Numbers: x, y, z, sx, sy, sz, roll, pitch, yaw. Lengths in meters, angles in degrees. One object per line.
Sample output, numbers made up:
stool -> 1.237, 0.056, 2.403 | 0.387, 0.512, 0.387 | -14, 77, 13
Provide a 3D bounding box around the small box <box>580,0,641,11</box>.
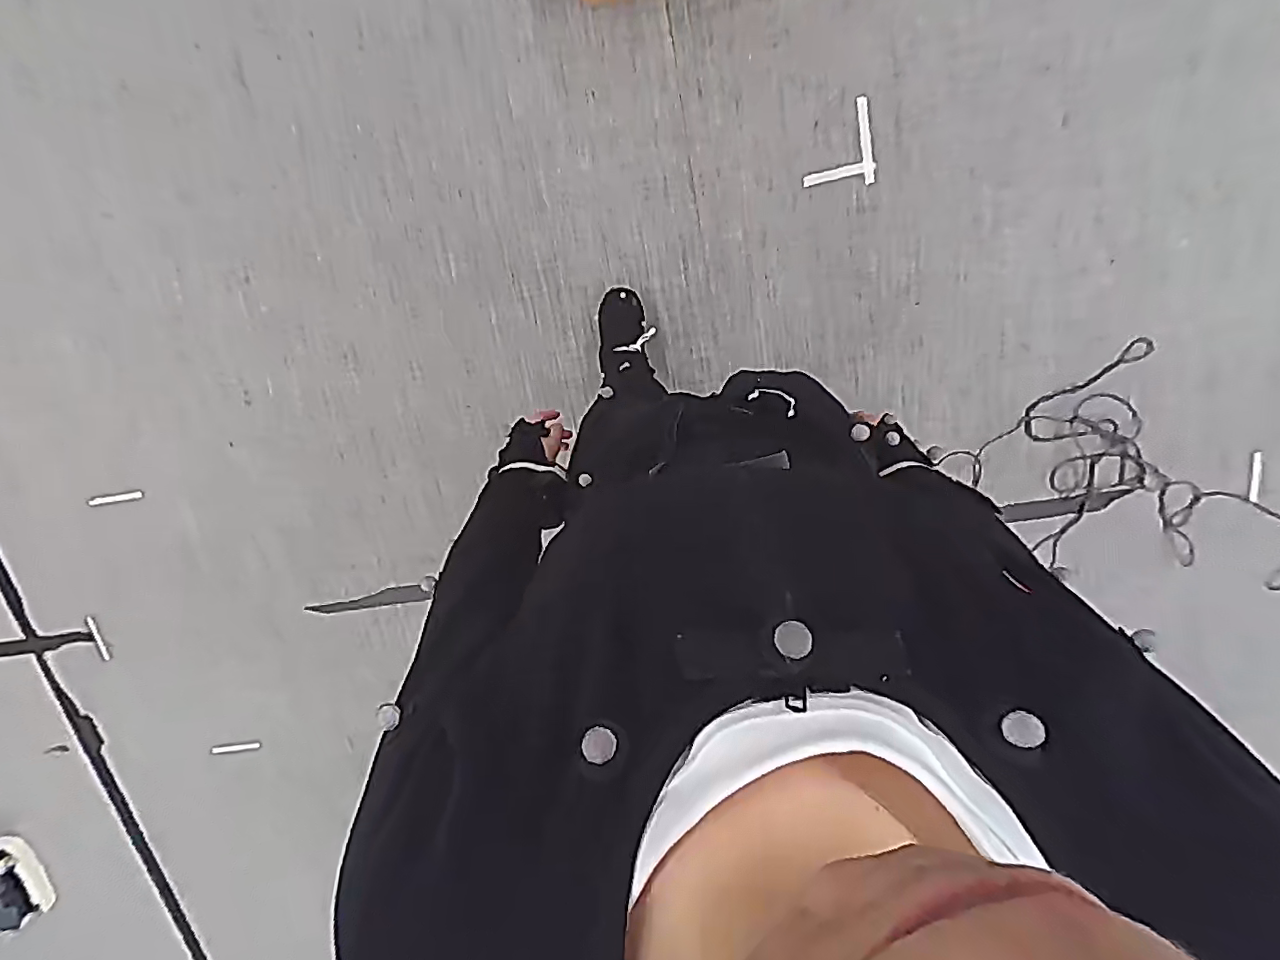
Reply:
small box -> -0.050, -1.055, 1.037 | 0.179, 0.176, 0.168 | -9, 104, 4
